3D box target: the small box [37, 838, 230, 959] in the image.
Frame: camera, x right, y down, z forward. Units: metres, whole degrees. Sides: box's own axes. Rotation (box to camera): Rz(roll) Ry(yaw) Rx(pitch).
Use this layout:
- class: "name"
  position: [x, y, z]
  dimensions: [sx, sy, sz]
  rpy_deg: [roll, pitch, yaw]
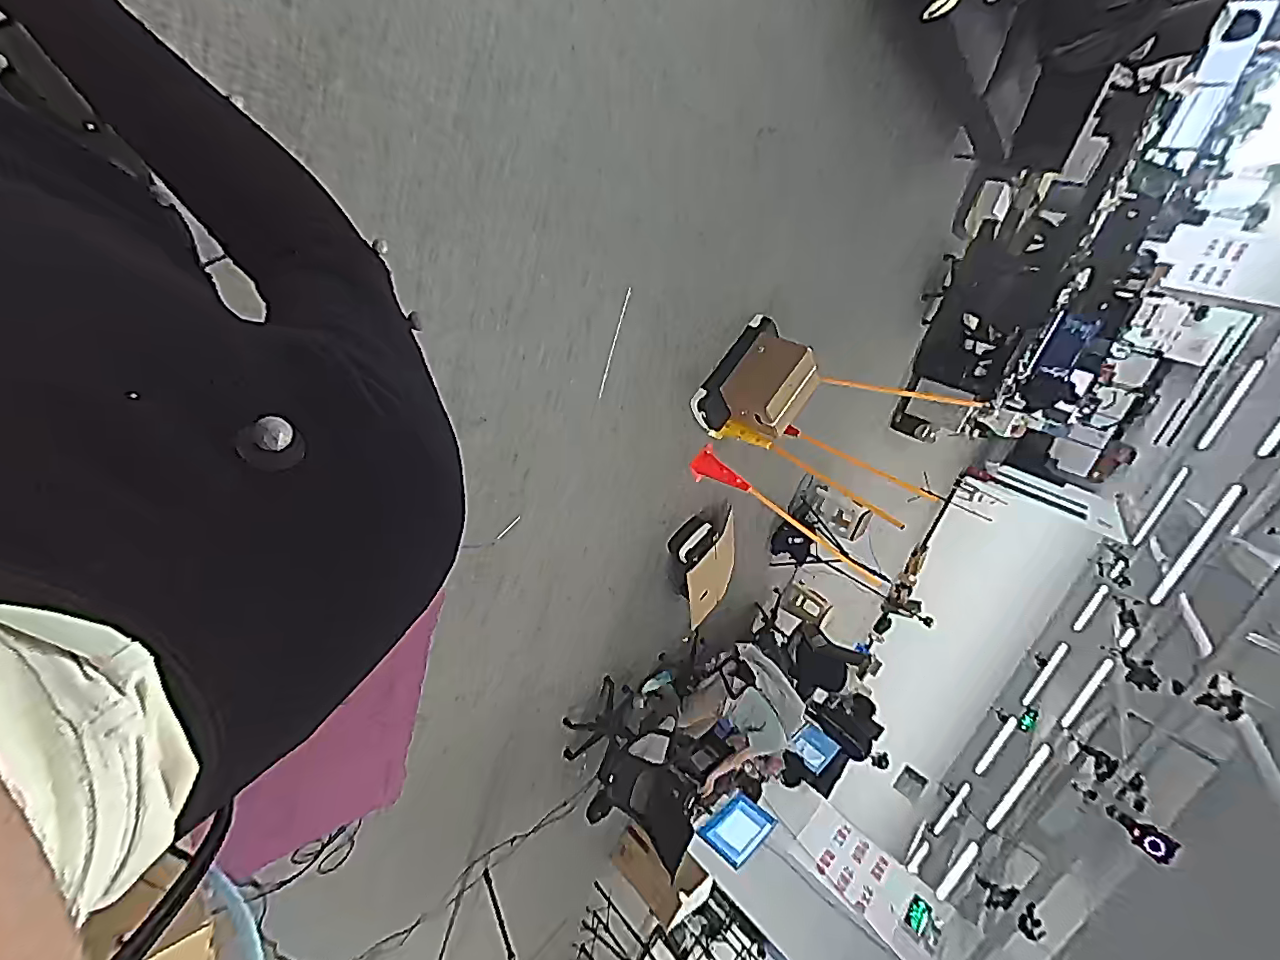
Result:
- class: "small box"
  position: [-0.718, 0.669, 0.773]
  dimensions: [0.179, 0.176, 0.168]
  rpy_deg: [-8, 121, -49]

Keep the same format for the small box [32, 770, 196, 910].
- class: "small box"
  position: [-0.835, 0.602, 0.864]
  dimensions: [0.168, 0.176, 0.179]
  rpy_deg: [-8, 123, -49]
